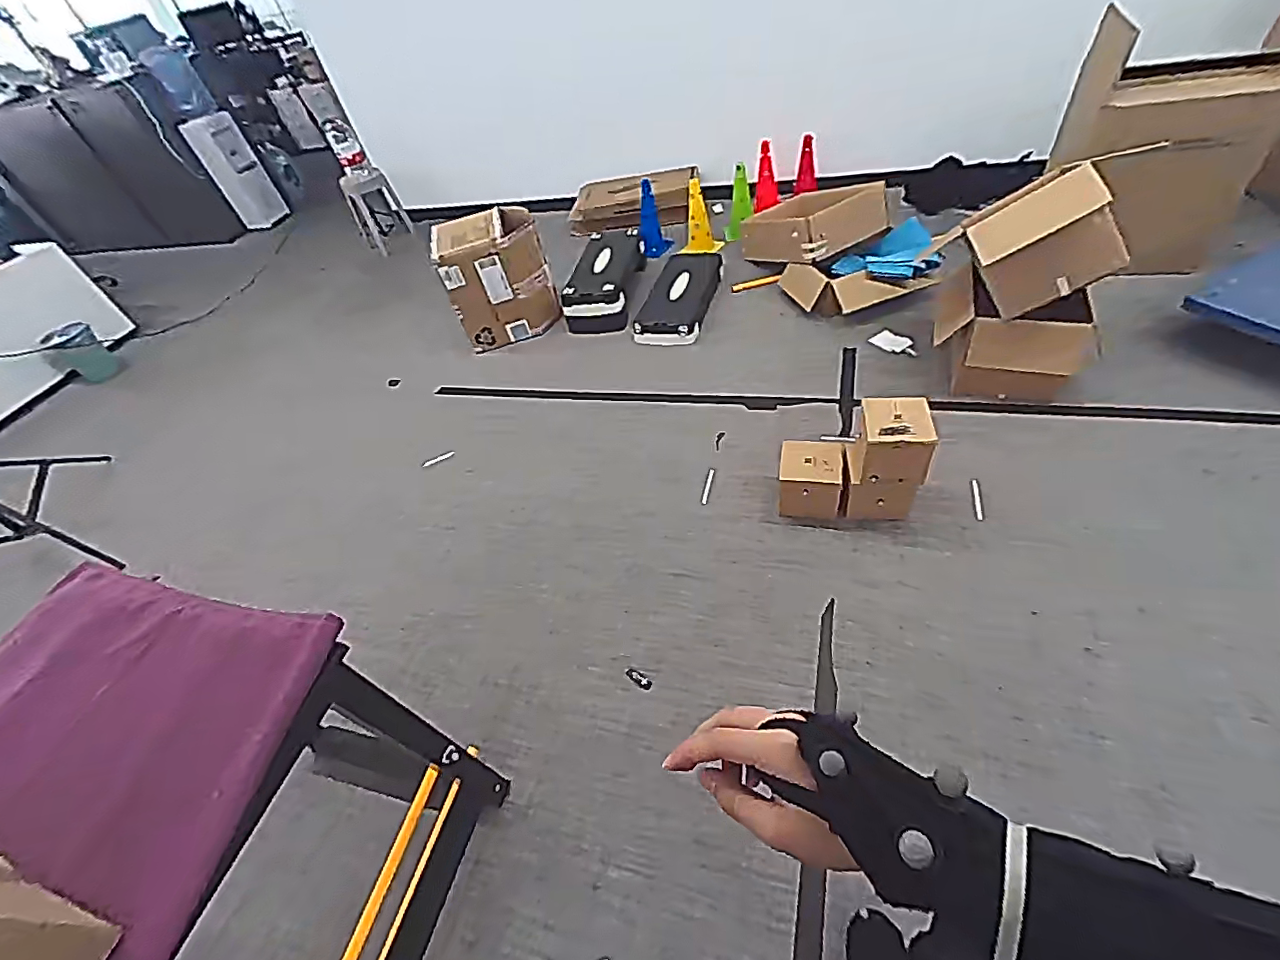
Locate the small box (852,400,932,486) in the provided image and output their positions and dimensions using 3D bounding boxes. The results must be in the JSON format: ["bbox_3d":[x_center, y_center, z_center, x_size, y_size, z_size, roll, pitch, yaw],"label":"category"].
[{"bbox_3d":[0.685,-0.099,1.486,0.168,0.176,0.179,1,48,13],"label":"small box"}]
